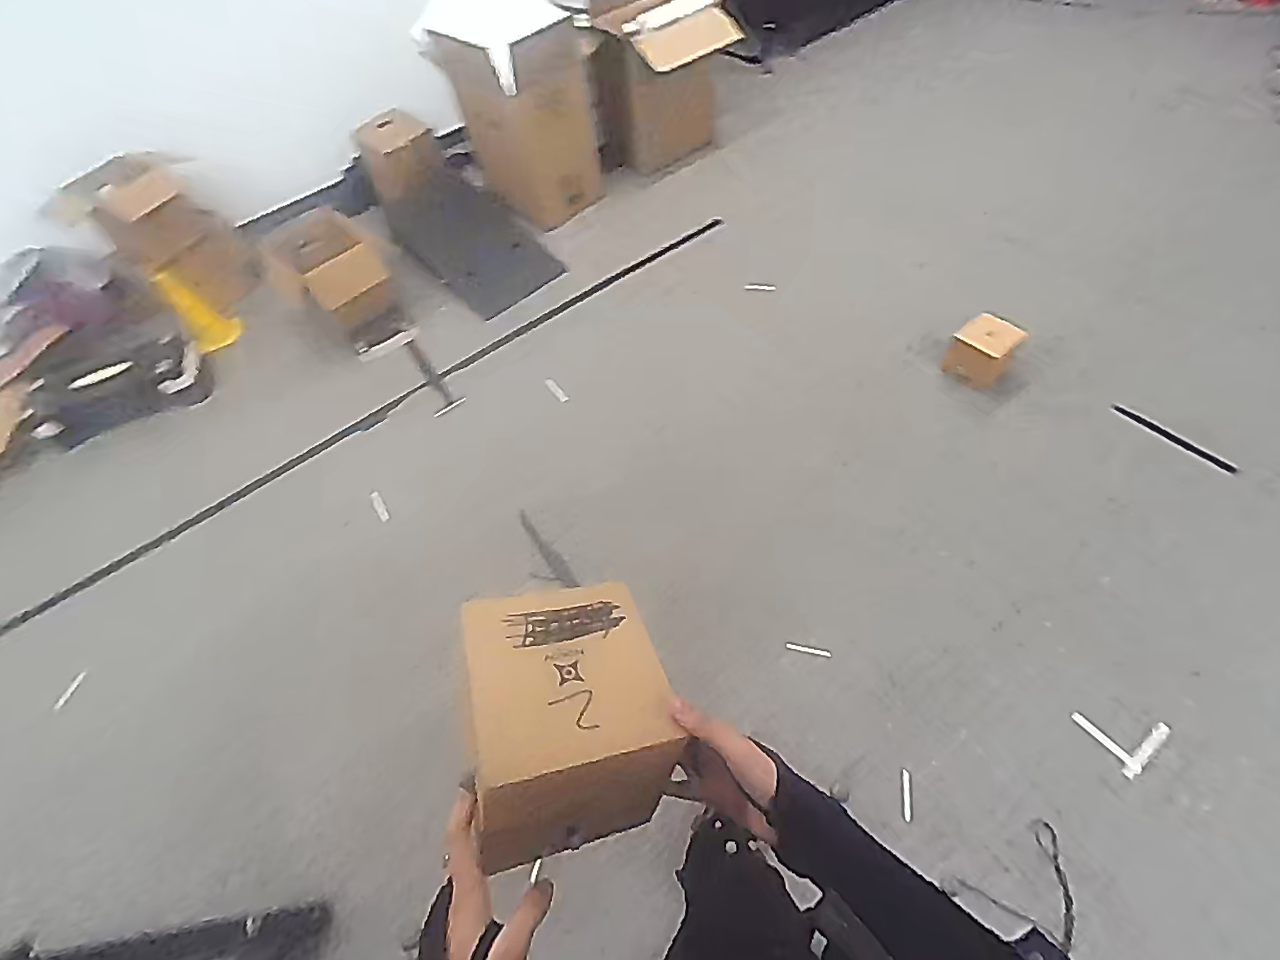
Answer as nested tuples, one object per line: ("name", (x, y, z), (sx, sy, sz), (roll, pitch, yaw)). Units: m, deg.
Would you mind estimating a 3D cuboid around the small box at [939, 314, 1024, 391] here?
("small box", (1.215, -0.456, 1.941), (0.179, 0.176, 0.168), (-35, 57, -15))
